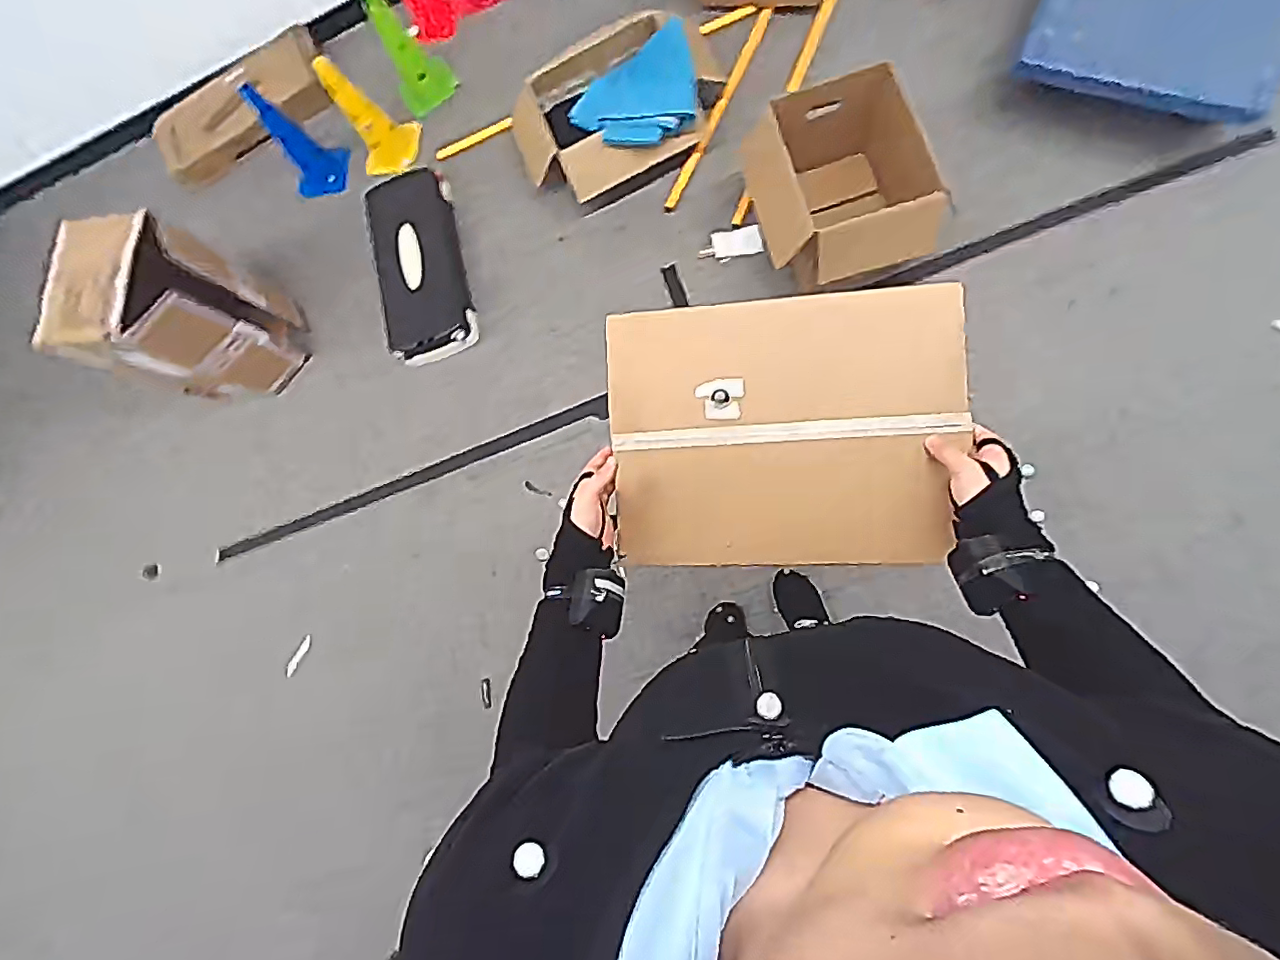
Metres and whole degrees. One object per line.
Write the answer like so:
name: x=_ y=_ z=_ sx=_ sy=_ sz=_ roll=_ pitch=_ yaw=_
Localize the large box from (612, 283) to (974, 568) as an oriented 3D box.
large box: x=0.198 y=-0.060 z=0.772 sx=0.408 sy=0.320 sz=0.320 roll=-2 pitch=92 yaw=12
